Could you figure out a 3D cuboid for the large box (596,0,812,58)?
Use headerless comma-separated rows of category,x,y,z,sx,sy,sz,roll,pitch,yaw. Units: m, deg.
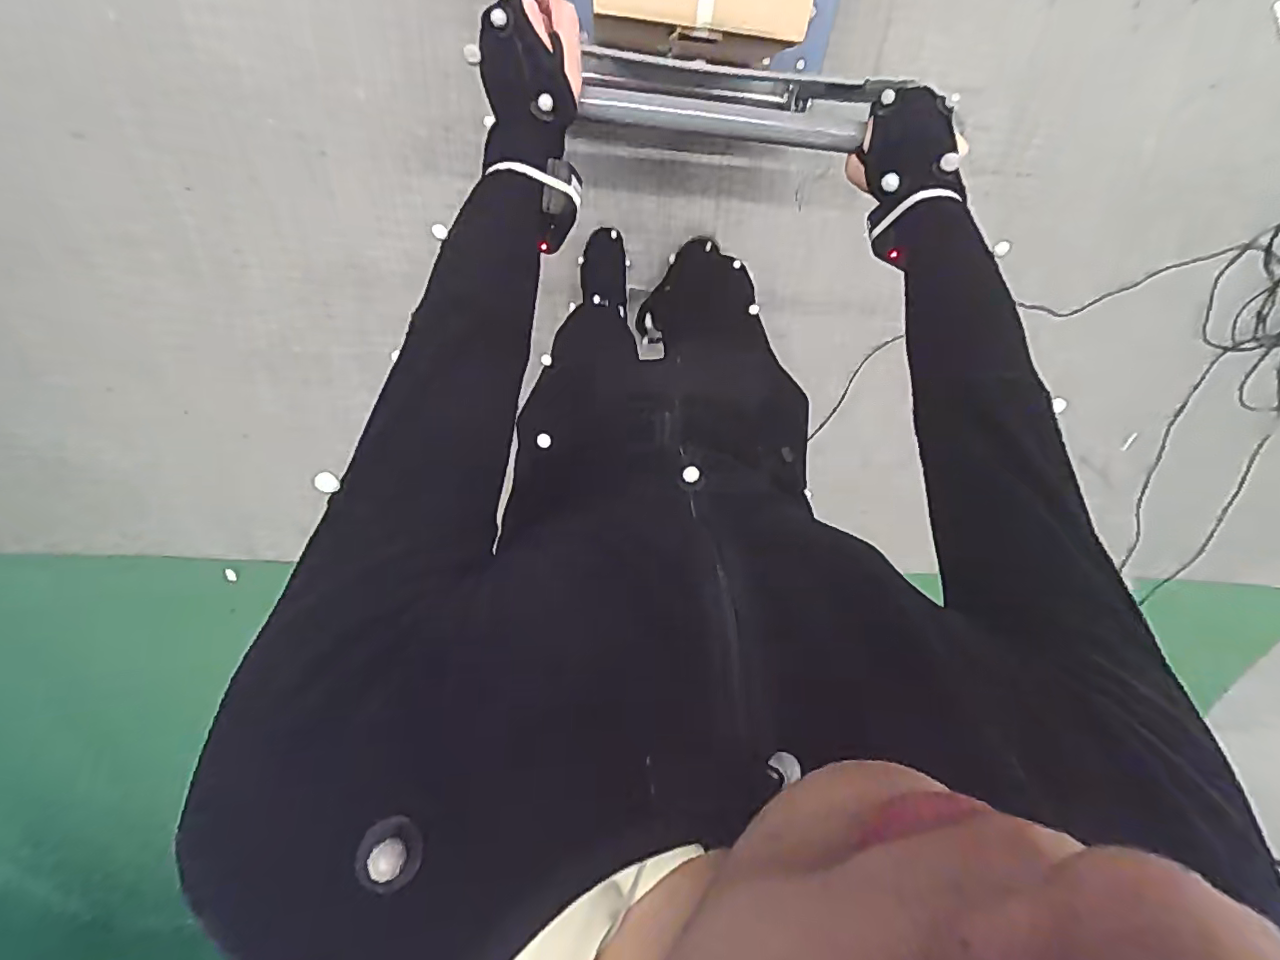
large box,0.099,-0.902,0.795,0.320,0.320,0.408,3,122,-6
